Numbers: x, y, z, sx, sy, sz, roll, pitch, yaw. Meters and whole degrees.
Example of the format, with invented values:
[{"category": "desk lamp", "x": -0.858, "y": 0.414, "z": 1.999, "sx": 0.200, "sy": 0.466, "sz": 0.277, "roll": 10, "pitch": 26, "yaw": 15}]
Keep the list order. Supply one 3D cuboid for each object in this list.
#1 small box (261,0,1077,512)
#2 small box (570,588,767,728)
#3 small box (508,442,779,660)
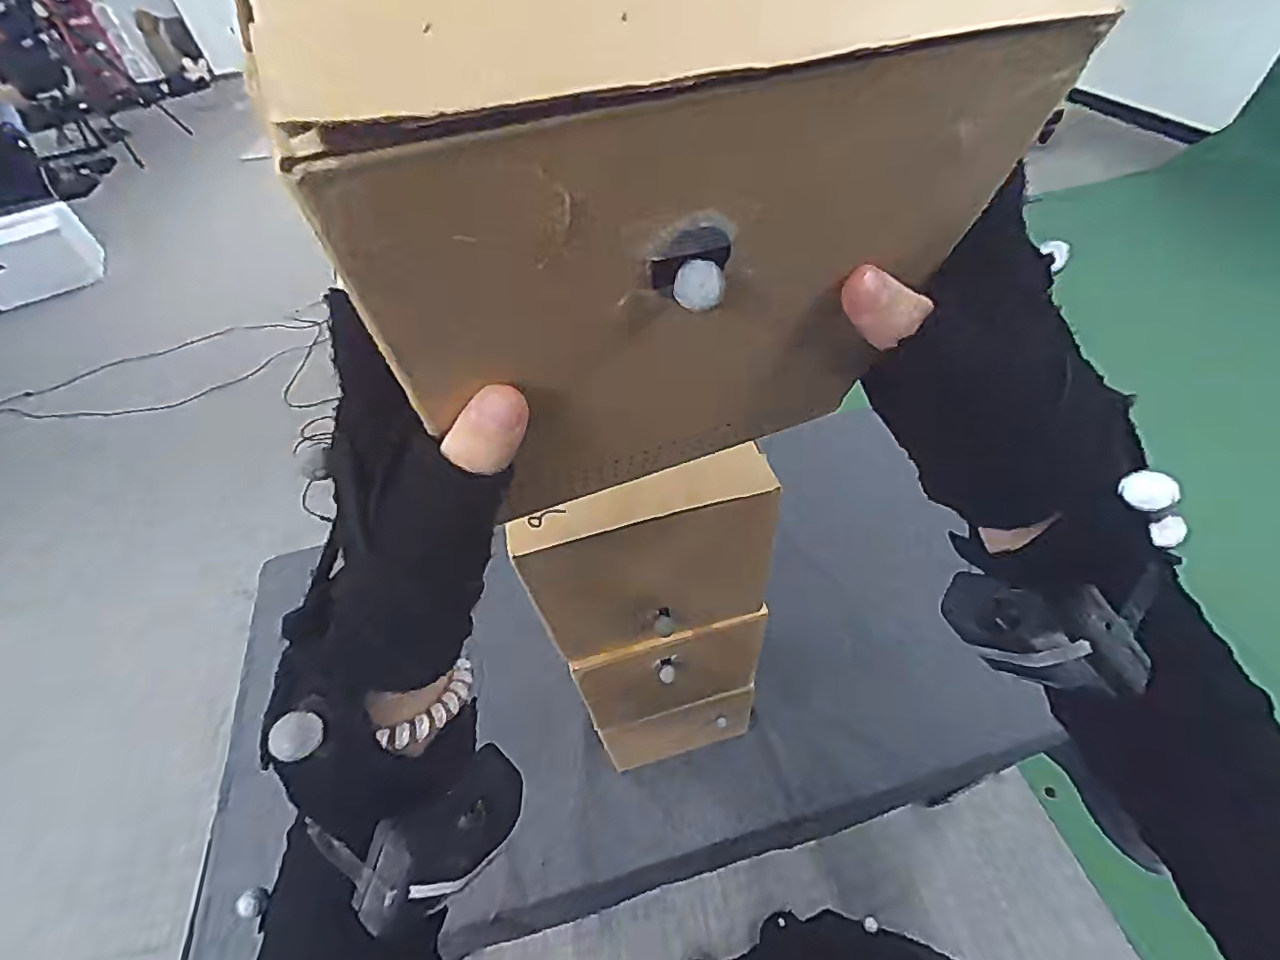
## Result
[{"category": "small box", "x": -0.010, "y": -0.107, "z": 0.210, "sx": 0.179, "sy": 0.176, "sz": 0.168, "roll": -18, "pitch": 68, "yaw": -12}, {"category": "small box", "x": 0.014, "y": 0.134, "z": 0.568, "sx": 0.179, "sy": 0.176, "sz": 0.168, "roll": -15, "pitch": 49, "yaw": -6}, {"category": "small box", "x": -0.006, "y": 0.024, "z": 0.447, "sx": 0.179, "sy": 0.176, "sz": 0.168, "roll": -13, "pitch": 48, "yaw": -5}]
